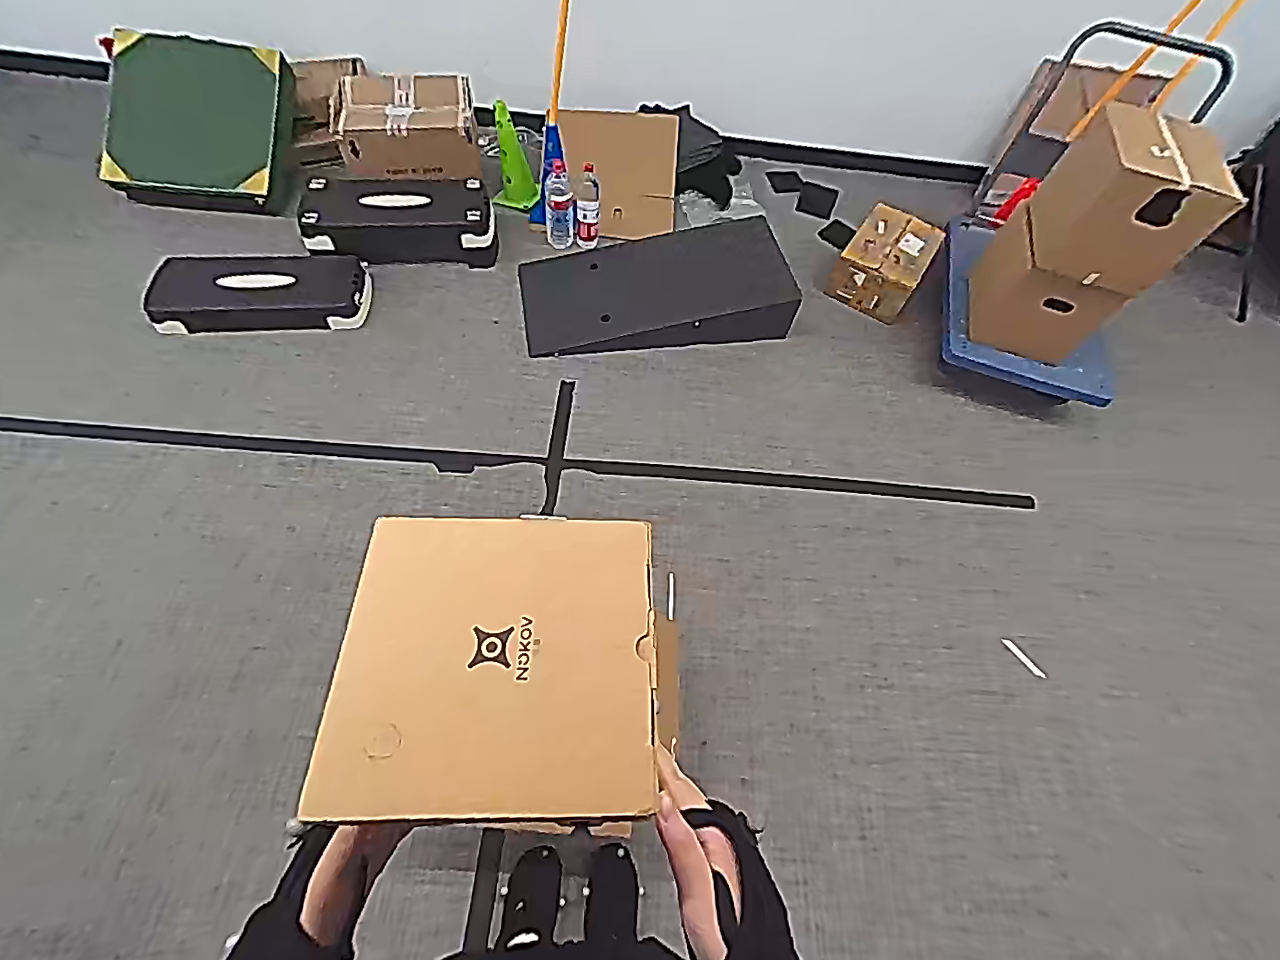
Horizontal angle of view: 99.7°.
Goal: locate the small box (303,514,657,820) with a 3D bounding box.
[{"bbox_3d":[-0.082,0.136,0.373,0.179,0.176,0.168,2,58,-4],"label":"small box"}]
